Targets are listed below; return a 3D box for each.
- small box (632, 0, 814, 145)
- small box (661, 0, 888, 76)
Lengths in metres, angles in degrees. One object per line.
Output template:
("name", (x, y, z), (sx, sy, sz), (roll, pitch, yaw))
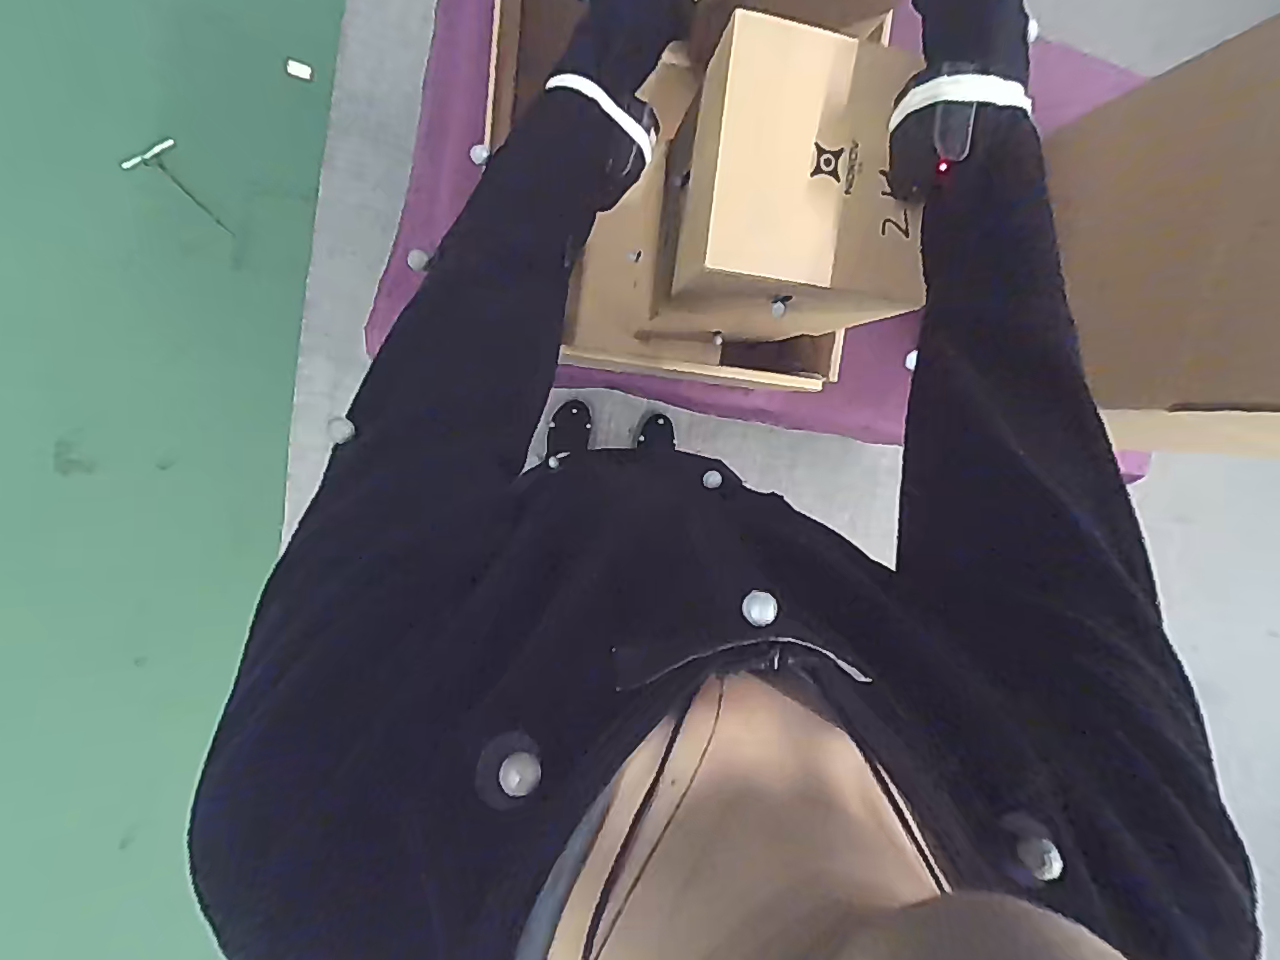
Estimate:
("small box", (0.086, -0.494, 0.583), (0.168, 0.176, 0.179), (3, 100, -10))
("small box", (0.118, -0.470, 0.425), (0.168, 0.176, 0.179), (5, 101, -10))
